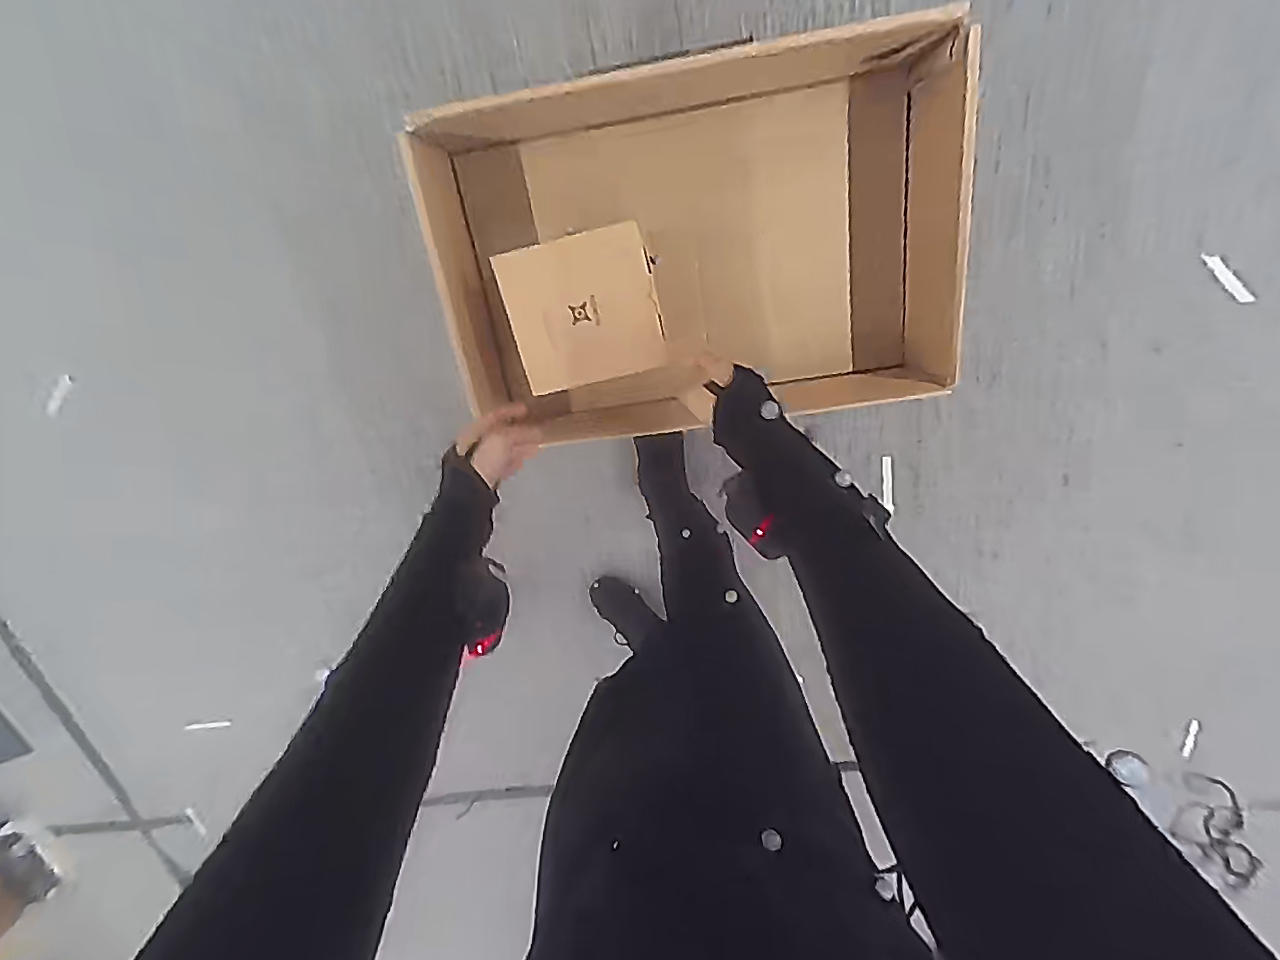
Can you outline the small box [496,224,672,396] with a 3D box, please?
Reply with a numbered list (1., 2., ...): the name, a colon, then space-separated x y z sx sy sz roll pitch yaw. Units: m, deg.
1. small box: -0.060 -0.221 0.701 0.179 0.176 0.168 -11 110 8
